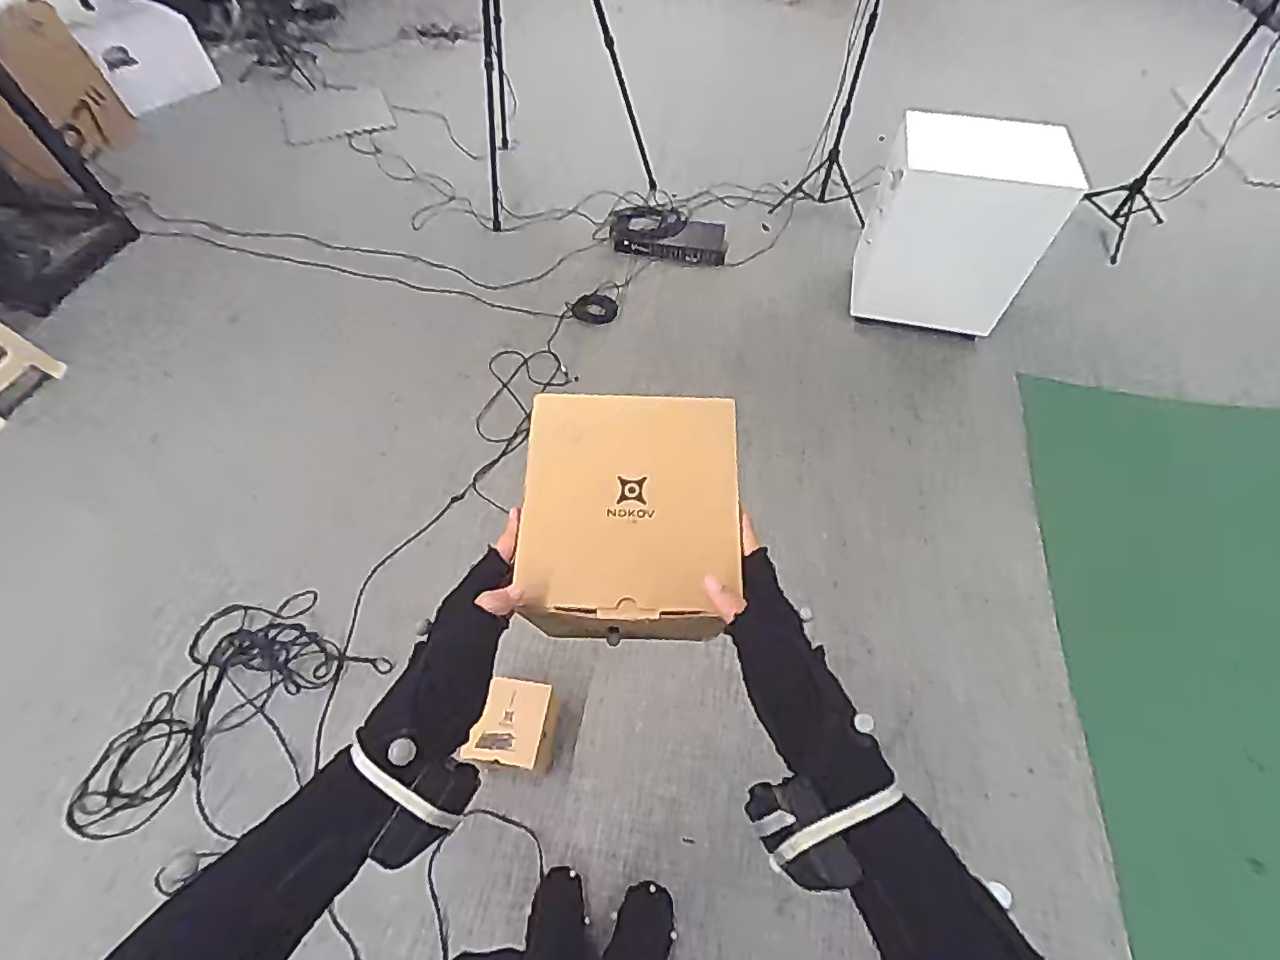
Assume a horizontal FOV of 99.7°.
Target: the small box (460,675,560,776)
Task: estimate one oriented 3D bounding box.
[{"bbox_3d":[-0.290,0.573,1.253,0.168,0.176,0.179,7,56,5],"label":"small box"}]
